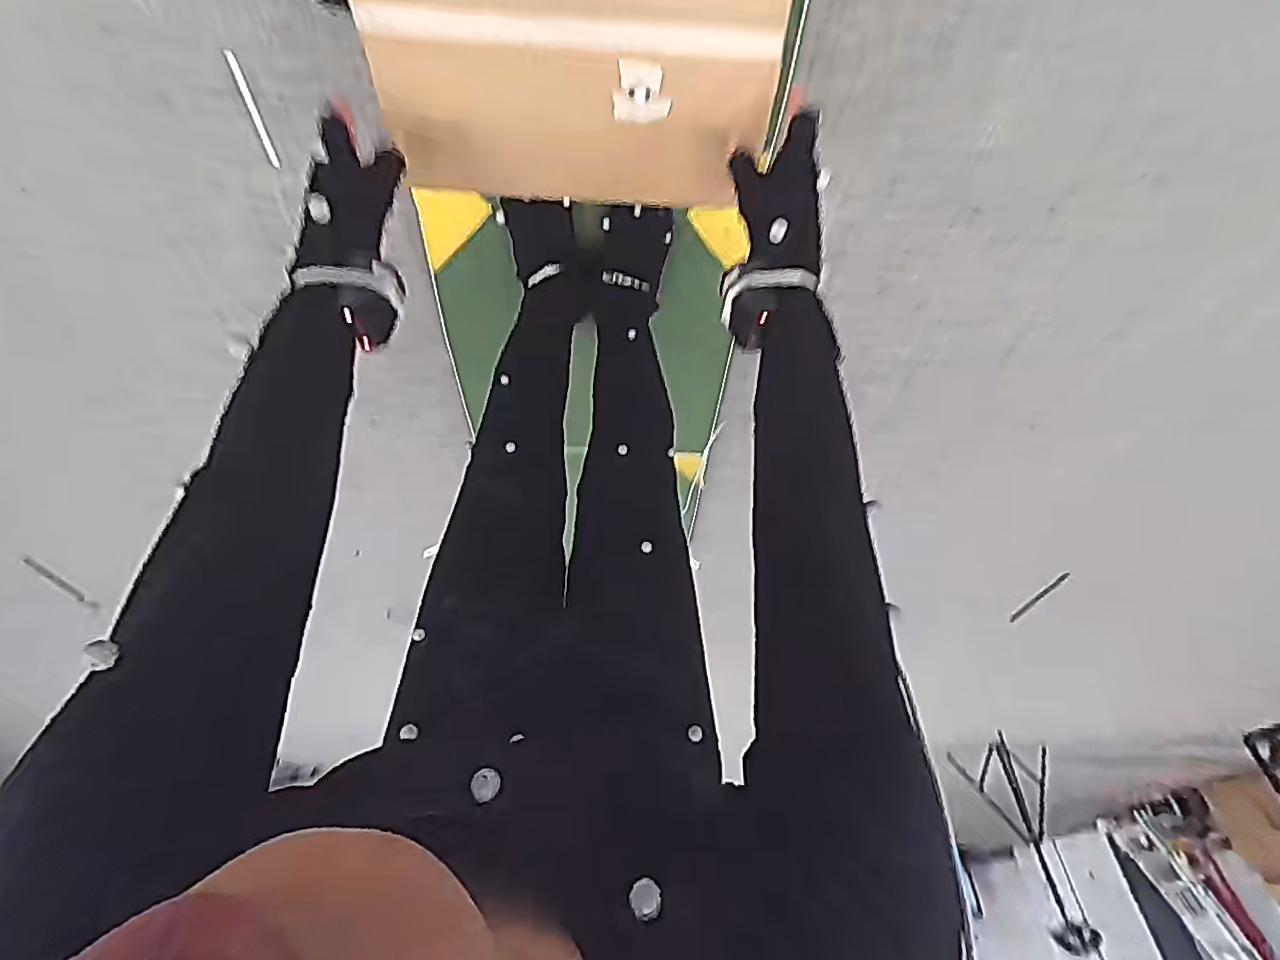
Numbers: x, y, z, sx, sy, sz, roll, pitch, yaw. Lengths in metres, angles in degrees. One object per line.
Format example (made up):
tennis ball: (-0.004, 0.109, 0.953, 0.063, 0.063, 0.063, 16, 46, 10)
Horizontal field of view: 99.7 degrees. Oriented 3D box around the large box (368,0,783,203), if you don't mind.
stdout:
large box: (-0.067, -0.549, 0.633, 0.408, 0.320, 0.320, 1, 139, -3)
